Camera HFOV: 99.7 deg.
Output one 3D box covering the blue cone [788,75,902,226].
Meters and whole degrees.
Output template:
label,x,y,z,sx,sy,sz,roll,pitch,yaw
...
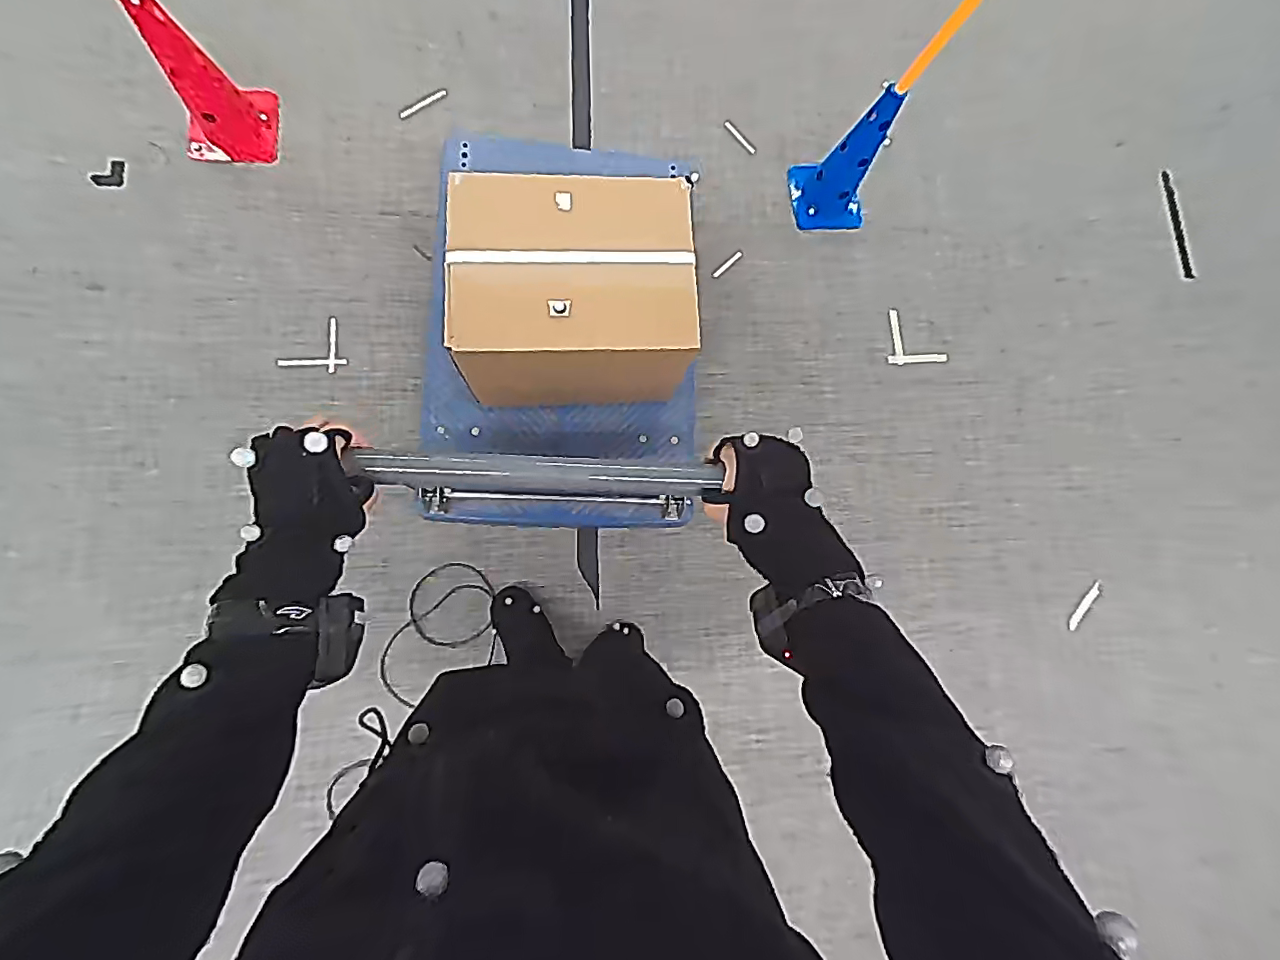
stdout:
label,x,y,z,sx,sy,sz,roll,pitch,yaw
blue cone,0.542,-0.836,1.372,0.193,0.380,0.192,-6,81,-8
